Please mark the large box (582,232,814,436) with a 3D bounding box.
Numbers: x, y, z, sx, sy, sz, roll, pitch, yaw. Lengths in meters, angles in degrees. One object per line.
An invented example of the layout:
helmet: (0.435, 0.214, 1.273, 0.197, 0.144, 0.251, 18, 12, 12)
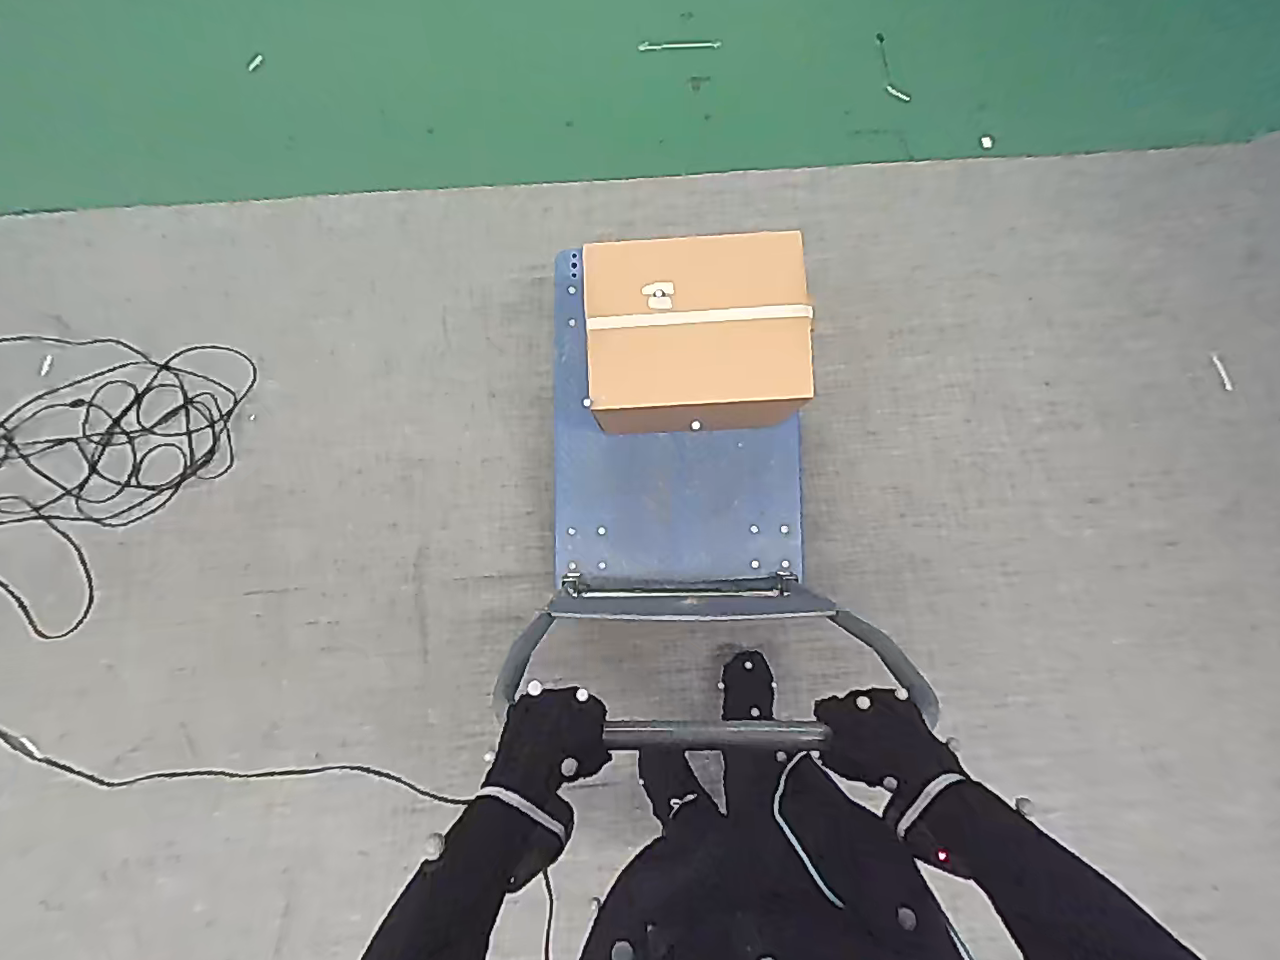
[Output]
large box: (0.109, -0.275, 1.126, 0.408, 0.320, 0.320, -4, 86, 2)
